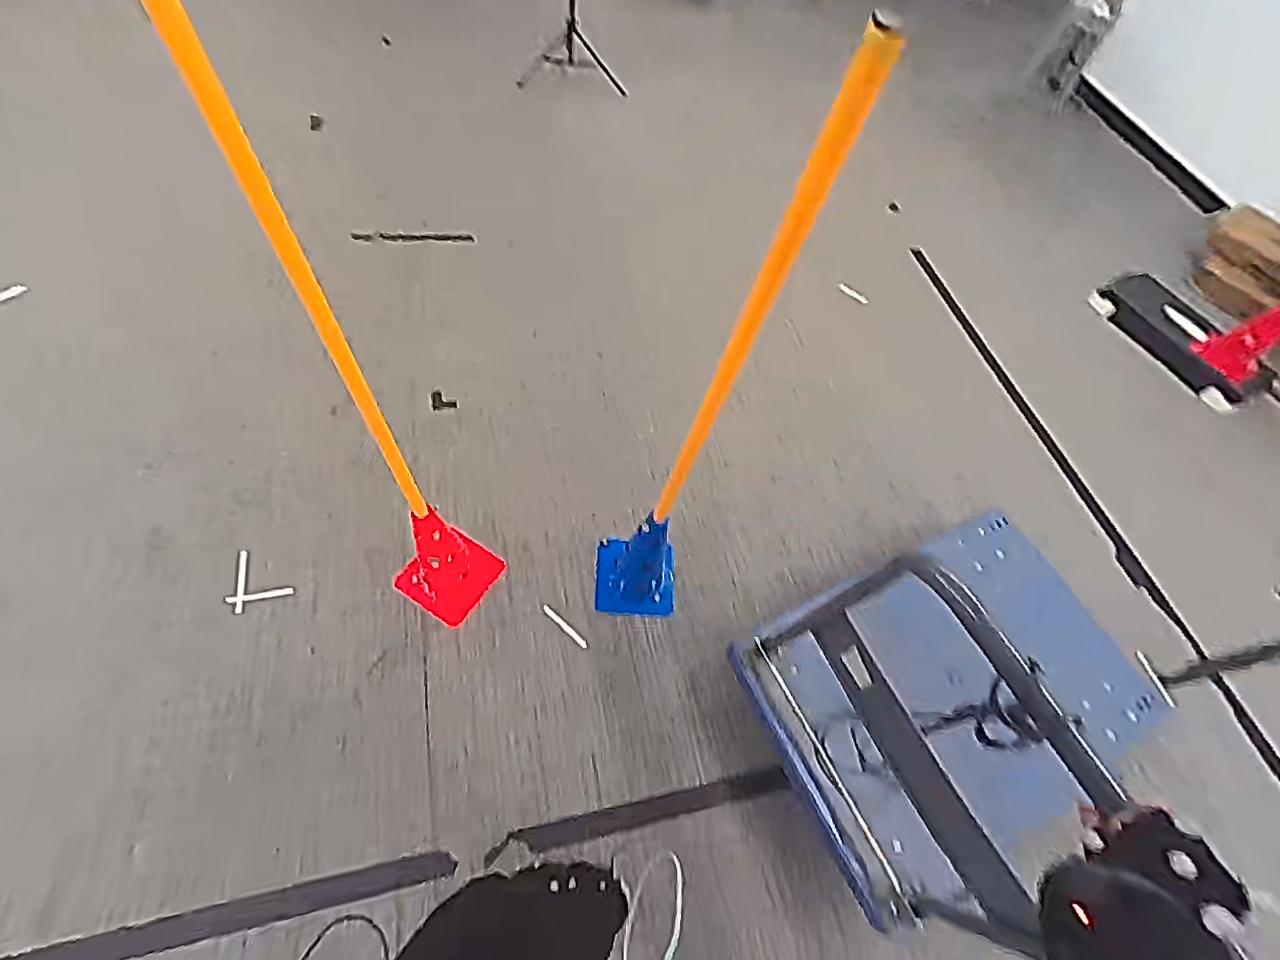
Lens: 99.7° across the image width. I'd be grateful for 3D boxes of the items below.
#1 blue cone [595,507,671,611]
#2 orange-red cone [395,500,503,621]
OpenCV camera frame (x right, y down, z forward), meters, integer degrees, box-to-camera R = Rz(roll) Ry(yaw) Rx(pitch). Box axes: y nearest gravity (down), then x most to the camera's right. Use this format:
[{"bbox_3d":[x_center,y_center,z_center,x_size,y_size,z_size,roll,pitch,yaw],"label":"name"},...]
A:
[{"bbox_3d":[0.004,0.160,1.238,0.192,0.380,0.193,6,60,-5],"label":"blue cone"},{"bbox_3d":[-0.433,0.135,1.163,0.199,0.360,0.198,33,61,9],"label":"orange-red cone"}]
